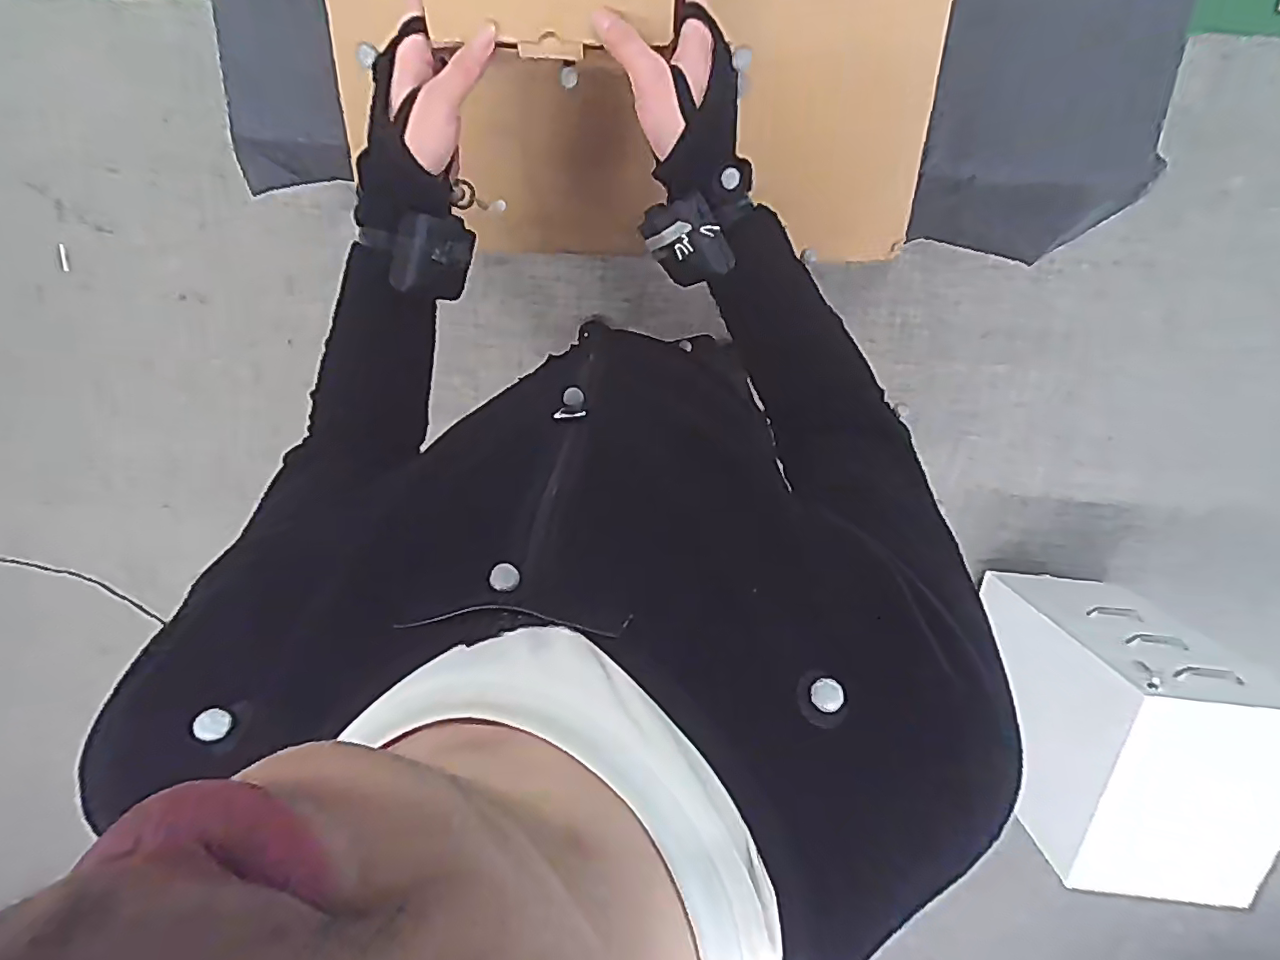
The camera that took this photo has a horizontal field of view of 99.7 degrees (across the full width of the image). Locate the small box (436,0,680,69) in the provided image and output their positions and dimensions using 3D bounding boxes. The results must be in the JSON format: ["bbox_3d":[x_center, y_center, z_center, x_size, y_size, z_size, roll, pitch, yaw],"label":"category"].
[{"bbox_3d":[-0.051,-0.411,0.391,0.168,0.176,0.179,0,123,2],"label":"small box"}]
